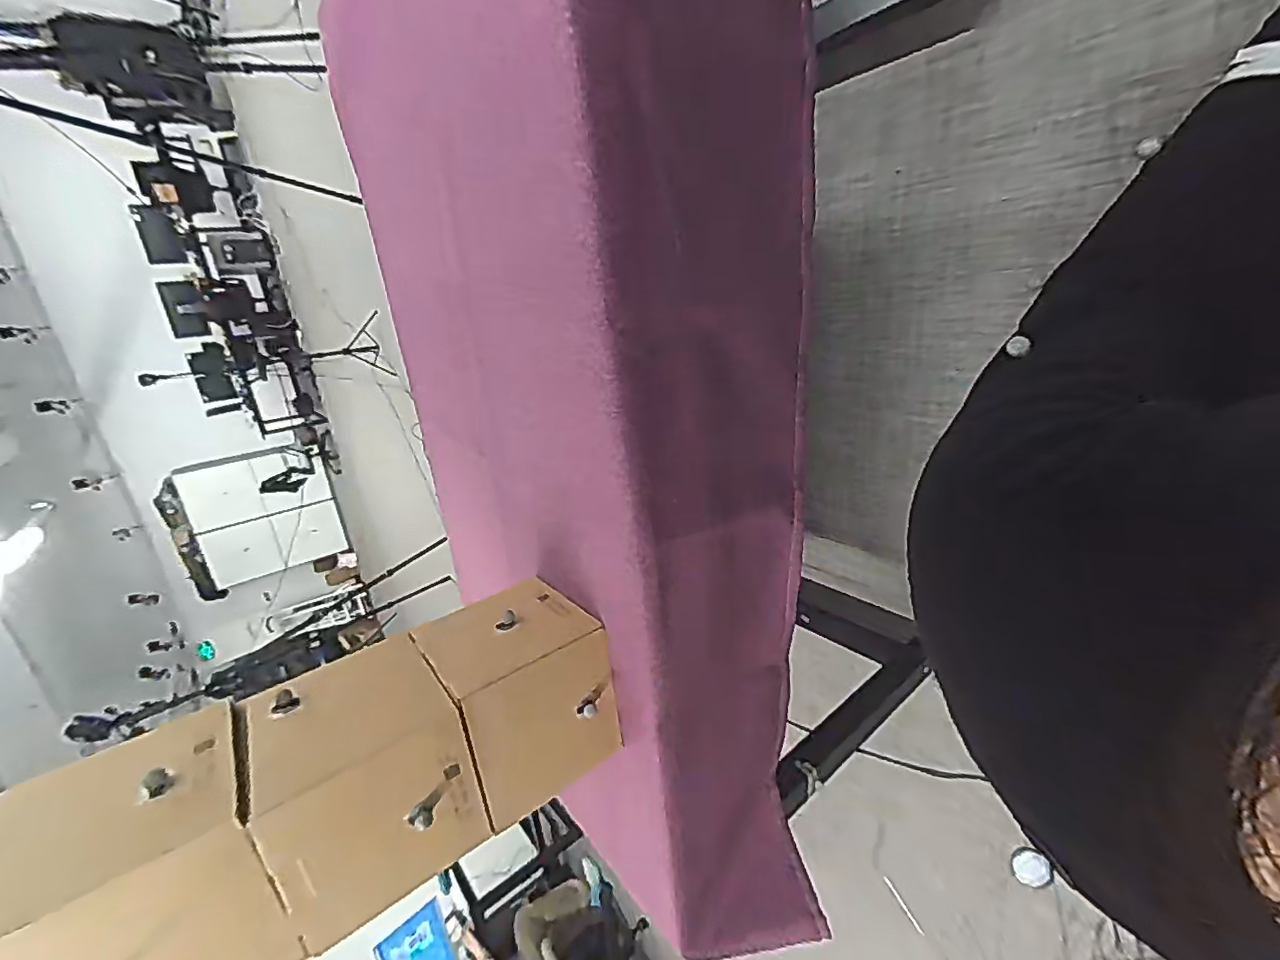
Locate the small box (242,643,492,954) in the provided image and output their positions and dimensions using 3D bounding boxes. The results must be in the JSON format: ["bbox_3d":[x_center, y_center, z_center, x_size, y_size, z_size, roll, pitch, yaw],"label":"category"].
[{"bbox_3d":[-0.269,0.290,0.542,0.179,0.176,0.168,18,121,49],"label":"small box"}]

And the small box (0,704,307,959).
[{"bbox_3d":[-0.398,0.332,0.448,0.168,0.176,0.179,20,122,48],"label":"small box"}]

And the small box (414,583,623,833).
[{"bbox_3d":[-0.138,0.244,0.632,0.168,0.176,0.179,16,119,50],"label":"small box"}]
